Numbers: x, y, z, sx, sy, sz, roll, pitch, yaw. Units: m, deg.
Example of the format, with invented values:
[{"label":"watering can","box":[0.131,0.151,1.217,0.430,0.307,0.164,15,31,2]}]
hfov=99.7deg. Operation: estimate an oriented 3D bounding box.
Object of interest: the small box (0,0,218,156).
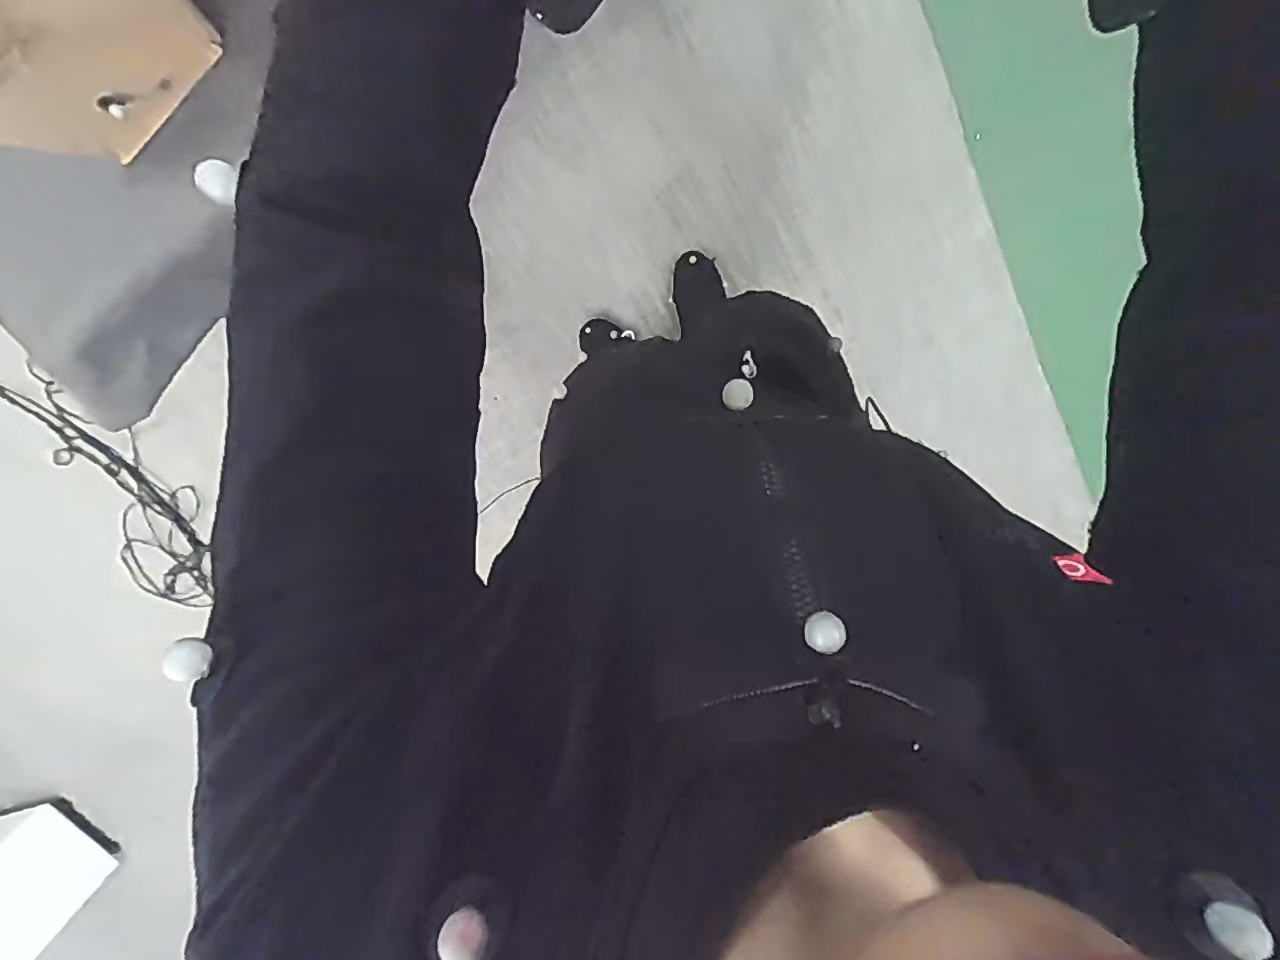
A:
[{"label":"small box","box":[-0.495,-0.388,0.413,0.168,0.176,0.179,-32,108,16]}]
